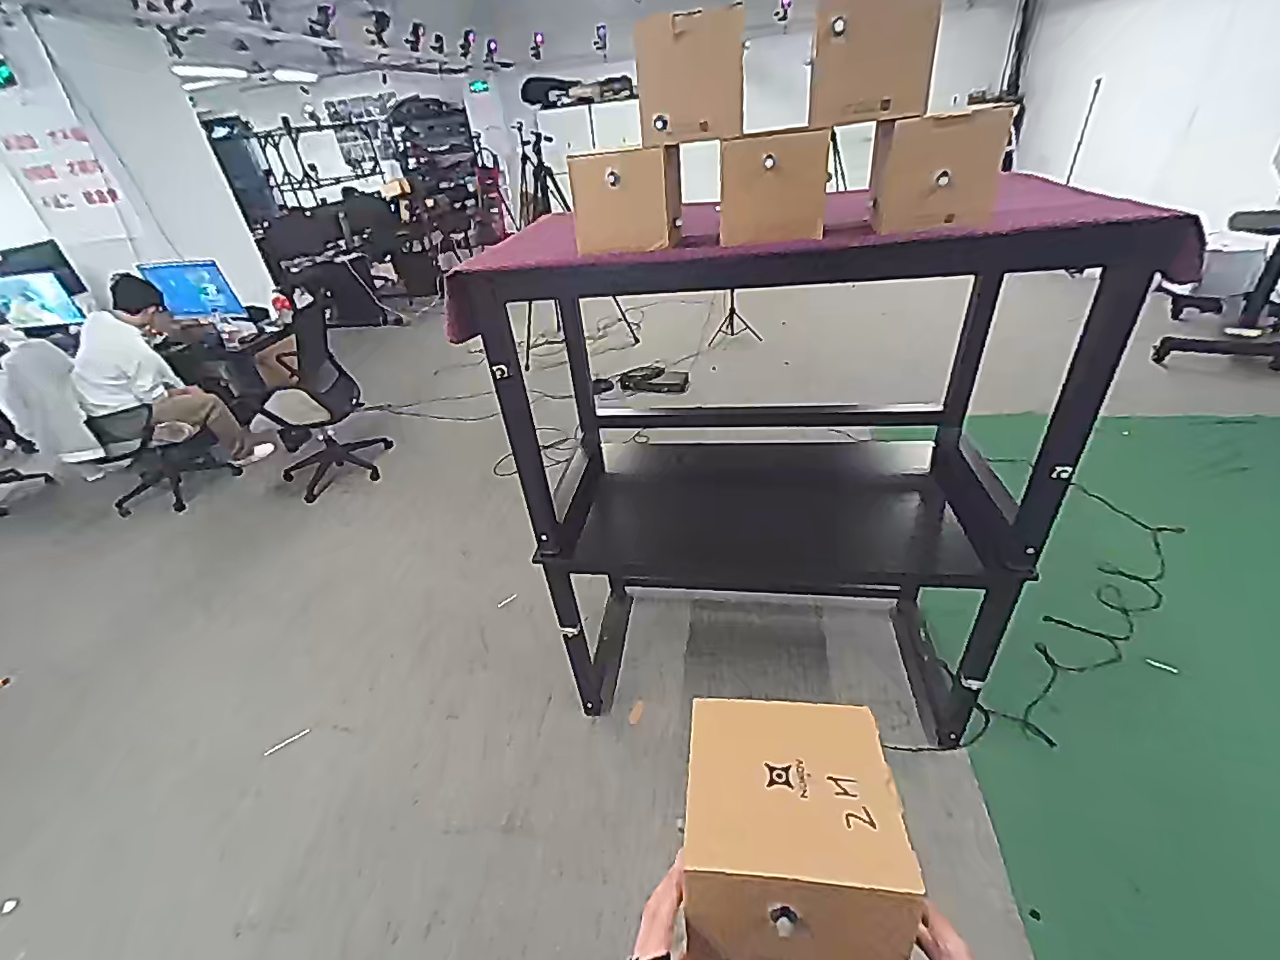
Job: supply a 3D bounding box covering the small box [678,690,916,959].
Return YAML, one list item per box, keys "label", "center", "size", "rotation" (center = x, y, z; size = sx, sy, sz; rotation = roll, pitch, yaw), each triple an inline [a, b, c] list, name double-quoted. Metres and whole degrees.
- label: "small box"
  center: [0.132, 0.324, 0.505]
  size: [0.179, 0.176, 0.168]
  rotation: [1, 26, 9]

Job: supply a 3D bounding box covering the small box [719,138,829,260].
- label: "small box"
  center: [0.236, -0.510, 0.983]
  size: [0.179, 0.176, 0.168]
  rotation: [-1, 33, 10]

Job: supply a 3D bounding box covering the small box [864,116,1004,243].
- label: "small box"
  center: [0.492, -0.513, 0.933]
  size: [0.168, 0.176, 0.179]
  rotation: [1, 35, 13]

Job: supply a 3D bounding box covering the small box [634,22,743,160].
- label: "small box"
  center: [0.092, -0.656, 0.932]
  size: [0.168, 0.176, 0.179]
  rotation: [0, 32, 11]

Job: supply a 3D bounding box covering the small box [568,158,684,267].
- label: "small box"
  center: [-0.017, -0.512, 1.034]
  size: [0.179, 0.176, 0.168]
  rotation: [3, 34, 14]
